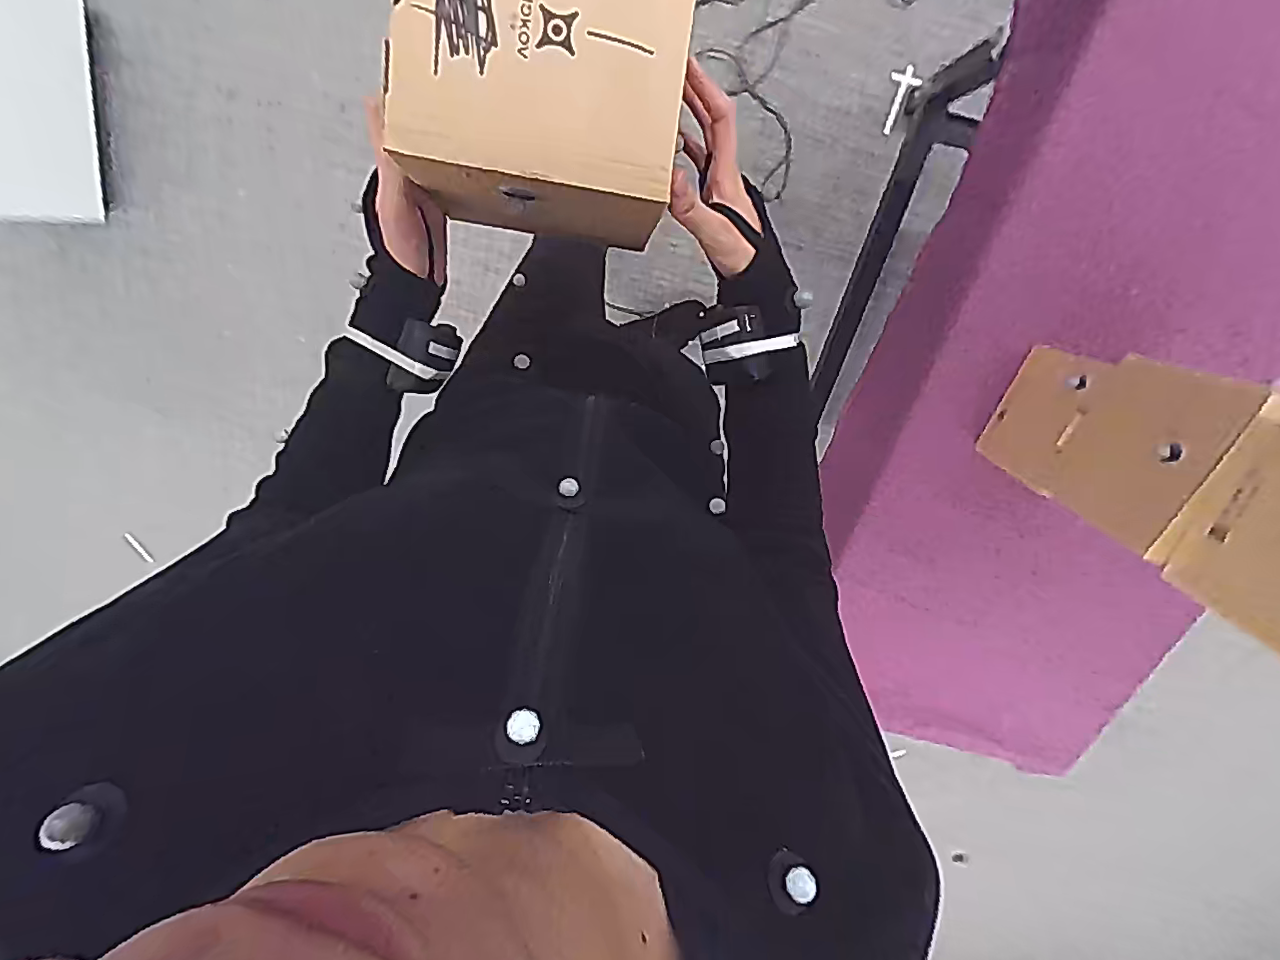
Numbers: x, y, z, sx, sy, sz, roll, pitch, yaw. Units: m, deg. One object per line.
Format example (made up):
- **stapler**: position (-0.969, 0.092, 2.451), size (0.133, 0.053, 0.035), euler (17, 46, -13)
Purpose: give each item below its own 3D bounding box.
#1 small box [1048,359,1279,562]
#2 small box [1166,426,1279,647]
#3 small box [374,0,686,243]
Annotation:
- **small box**: position (0.588, -0.013, 0.567), size (0.168, 0.176, 0.179), euler (17, 114, -3)
- **small box**: position (0.591, 0.062, 0.422), size (0.179, 0.176, 0.168), euler (9, 114, -1)
- **small box**: position (-0.068, -0.284, 0.392), size (0.179, 0.176, 0.168), euler (6, 102, -7)
